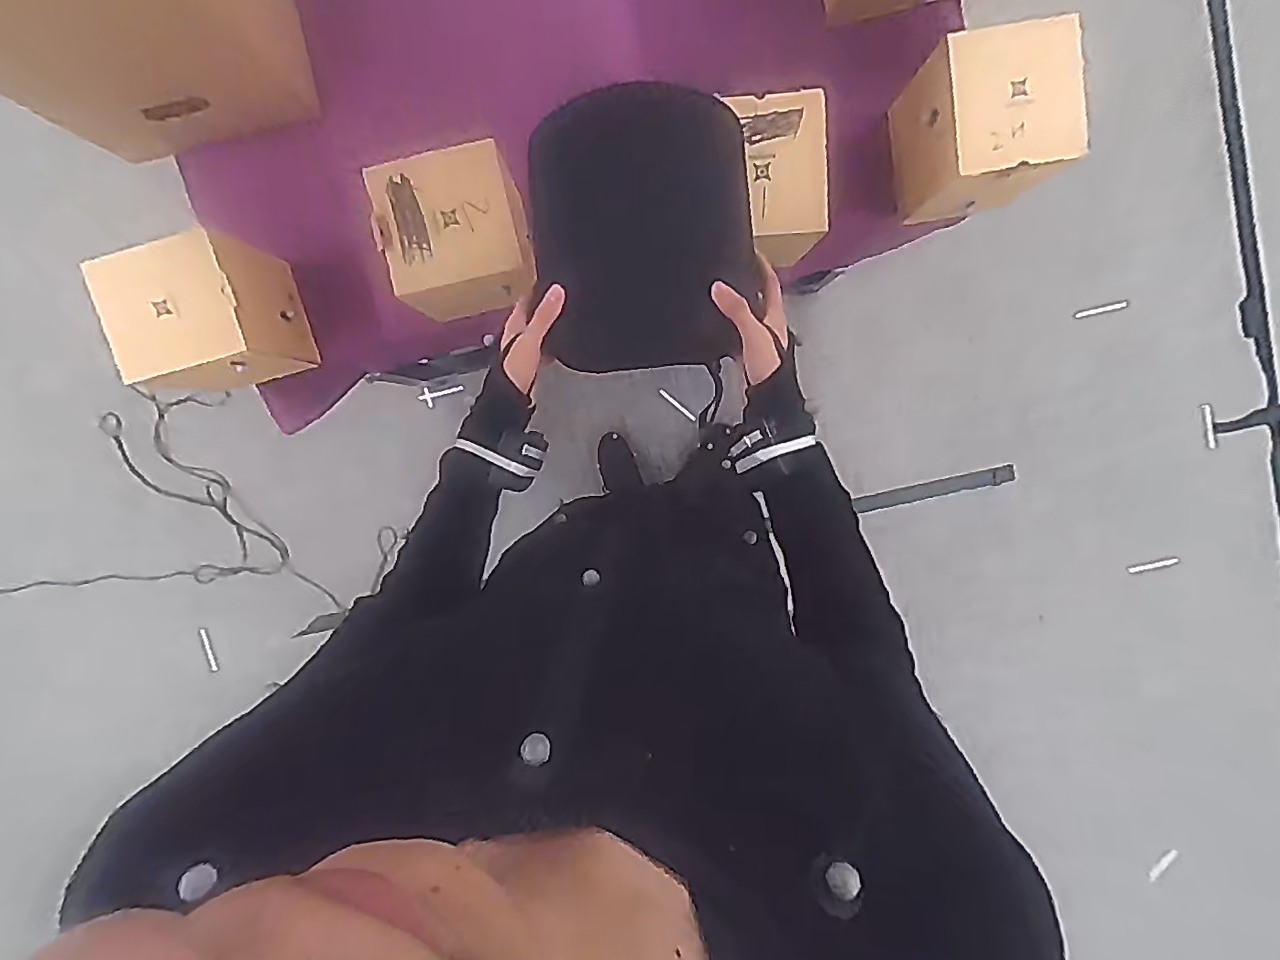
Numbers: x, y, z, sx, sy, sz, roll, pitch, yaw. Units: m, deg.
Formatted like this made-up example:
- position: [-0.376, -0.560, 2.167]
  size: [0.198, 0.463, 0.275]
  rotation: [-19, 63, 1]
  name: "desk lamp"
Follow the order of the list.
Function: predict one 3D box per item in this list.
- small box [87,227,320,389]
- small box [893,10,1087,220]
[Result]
- position: [-0.614, -0.235, 0.785]
  size: [0.179, 0.176, 0.168]
  rotation: [-16, 96, 0]
  name: "small box"
- position: [0.475, -0.494, 0.758]
  size: [0.168, 0.176, 0.179]
  rotation: [-8, 96, 2]
  name: "small box"
